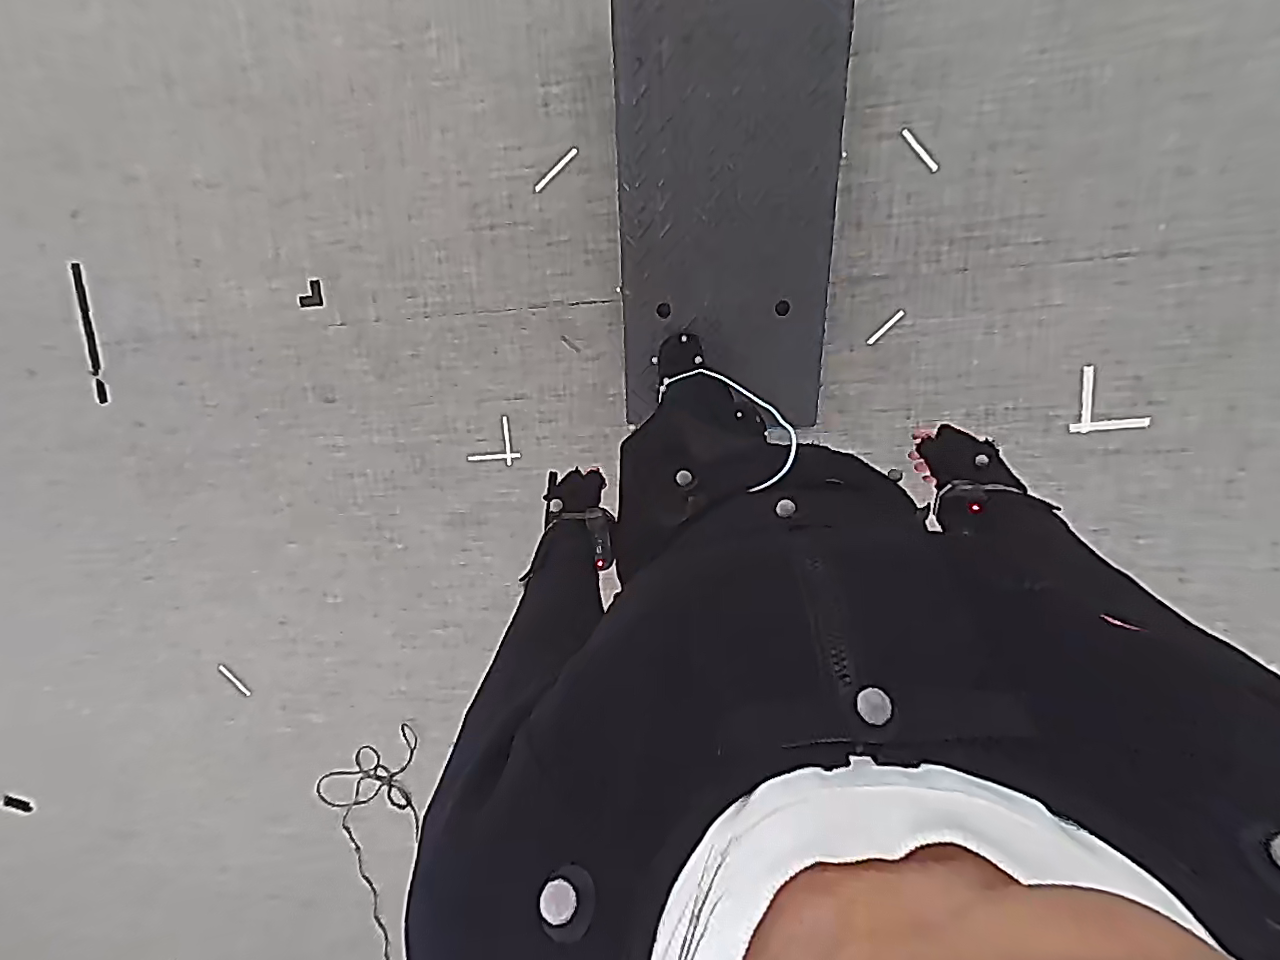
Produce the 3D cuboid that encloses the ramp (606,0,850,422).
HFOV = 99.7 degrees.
[{"bbox_3d":[0.189,-0.616,1.235,0.509,0.206,0.991,-1,102,6],"label":"ramp"}]
